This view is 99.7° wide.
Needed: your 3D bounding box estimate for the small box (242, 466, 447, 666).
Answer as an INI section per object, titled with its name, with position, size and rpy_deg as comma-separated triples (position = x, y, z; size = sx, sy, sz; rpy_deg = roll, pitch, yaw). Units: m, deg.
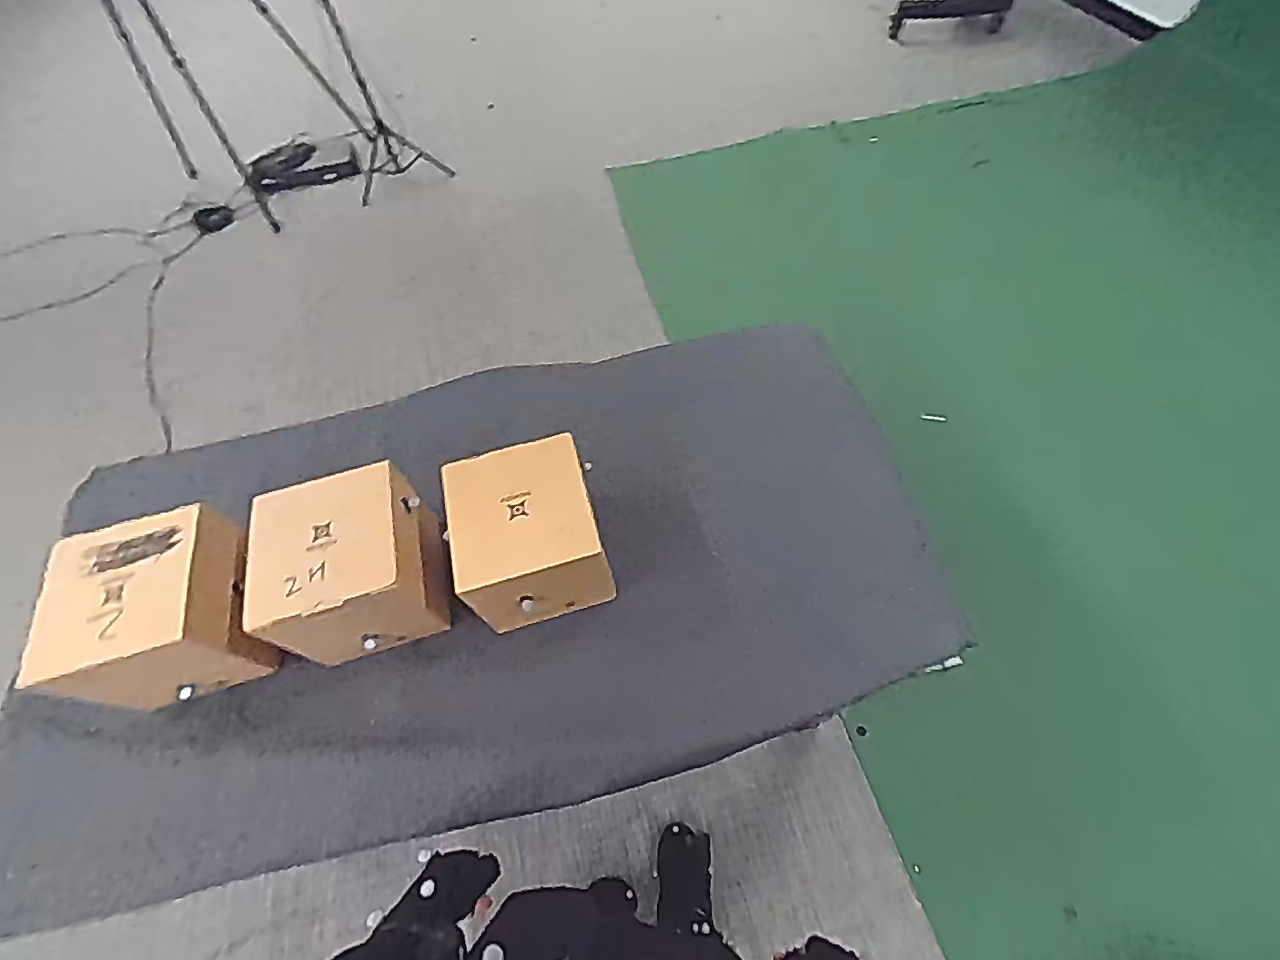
[small box]
position = -0.362, 0.114, 0.691
size = 0.168, 0.176, 0.179
rpy_deg = -16, 59, -6
